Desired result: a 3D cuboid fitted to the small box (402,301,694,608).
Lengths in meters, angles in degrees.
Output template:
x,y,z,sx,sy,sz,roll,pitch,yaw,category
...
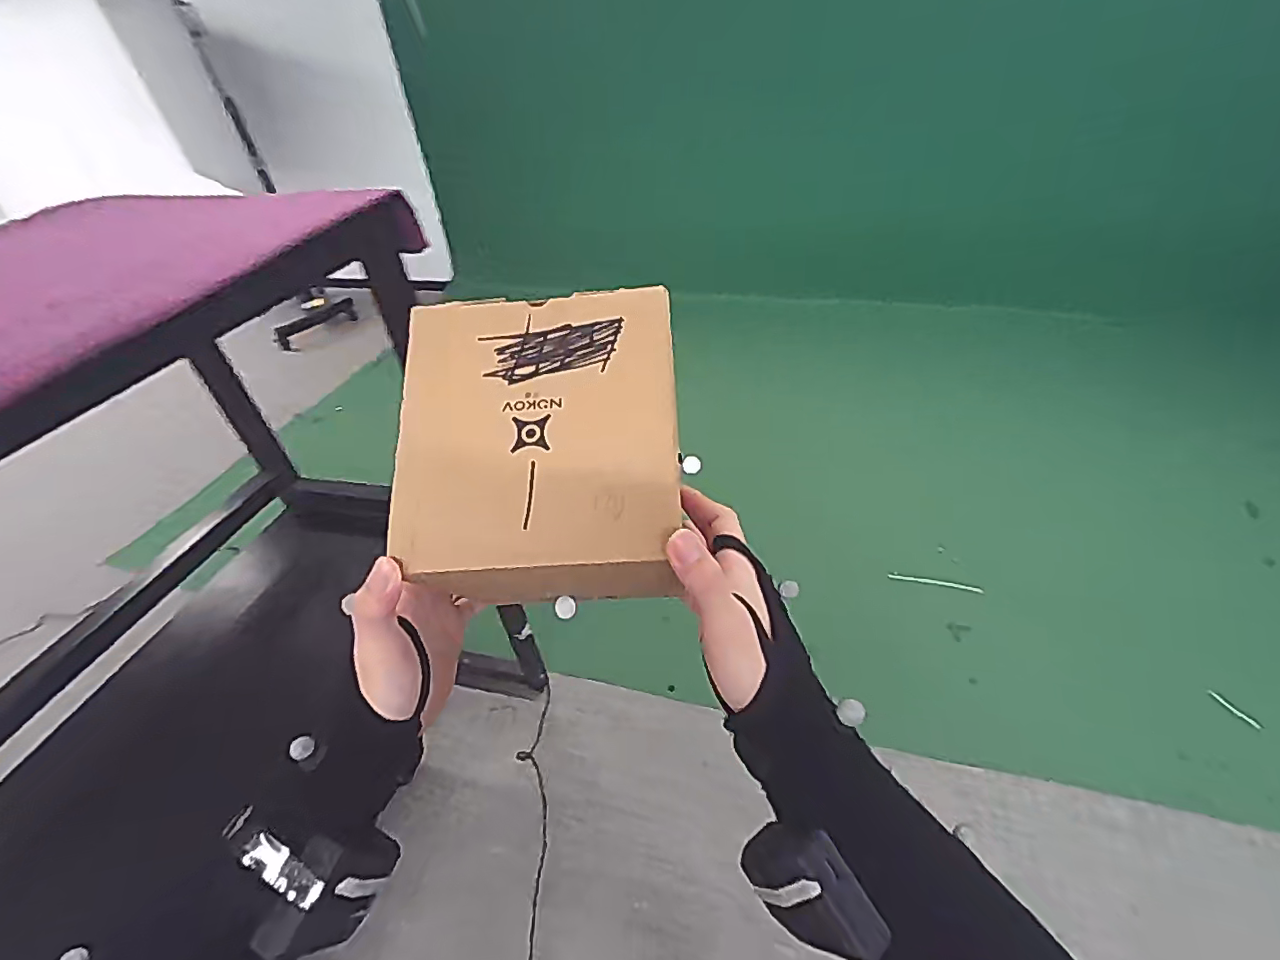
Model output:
x,y,z,sx,sy,sz,roll,pitch,yaw,category
-0.047,-0.004,0.399,0.168,0.176,0.179,-3,72,5,small box
